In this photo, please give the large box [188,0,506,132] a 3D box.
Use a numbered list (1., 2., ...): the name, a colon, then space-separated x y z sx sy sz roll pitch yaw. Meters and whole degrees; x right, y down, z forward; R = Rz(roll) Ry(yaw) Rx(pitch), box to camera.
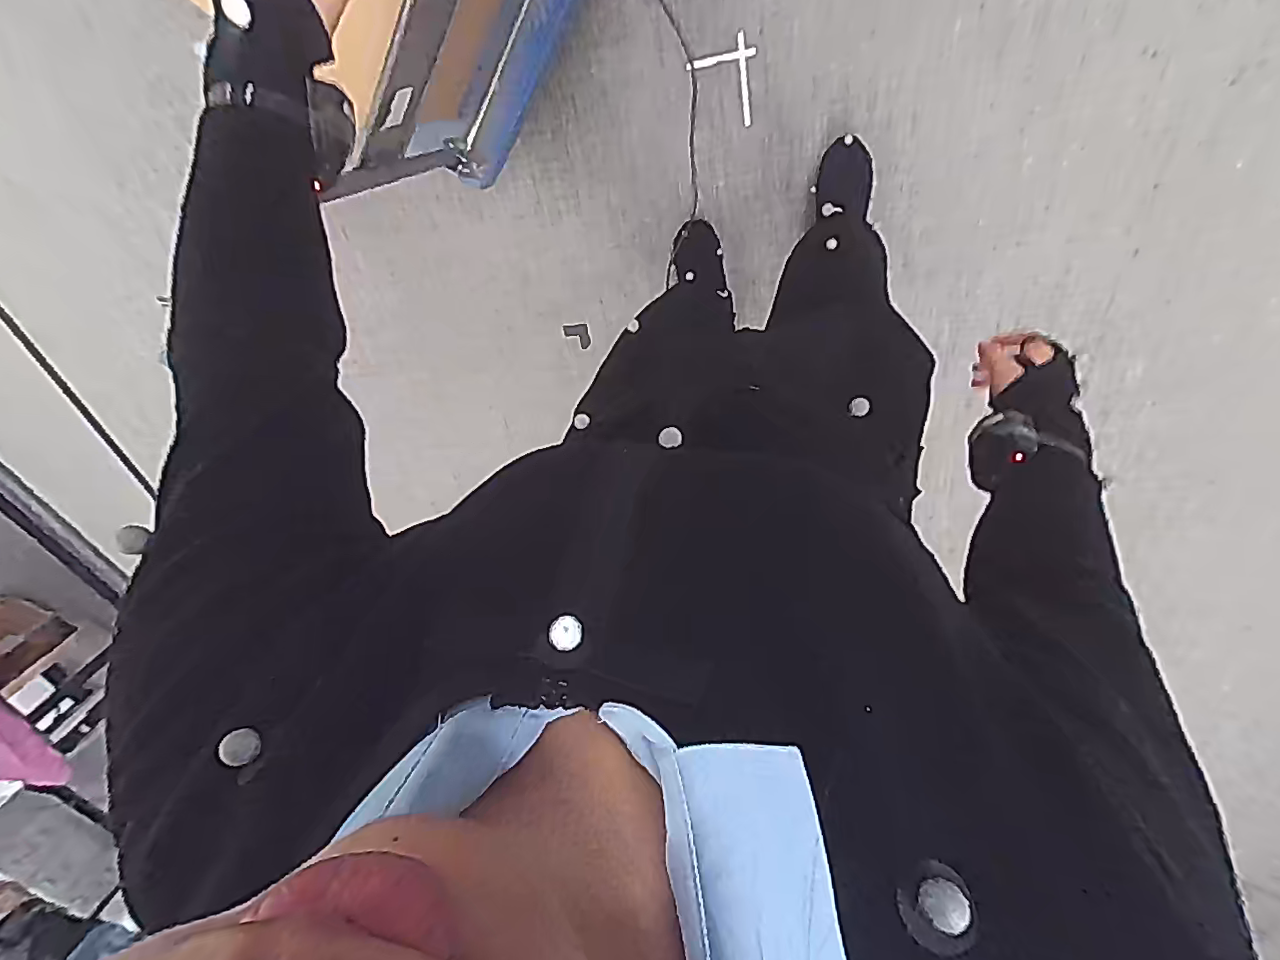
1. large box: -0.391 -0.800 0.785 0.320 0.320 0.408 34 124 -13
